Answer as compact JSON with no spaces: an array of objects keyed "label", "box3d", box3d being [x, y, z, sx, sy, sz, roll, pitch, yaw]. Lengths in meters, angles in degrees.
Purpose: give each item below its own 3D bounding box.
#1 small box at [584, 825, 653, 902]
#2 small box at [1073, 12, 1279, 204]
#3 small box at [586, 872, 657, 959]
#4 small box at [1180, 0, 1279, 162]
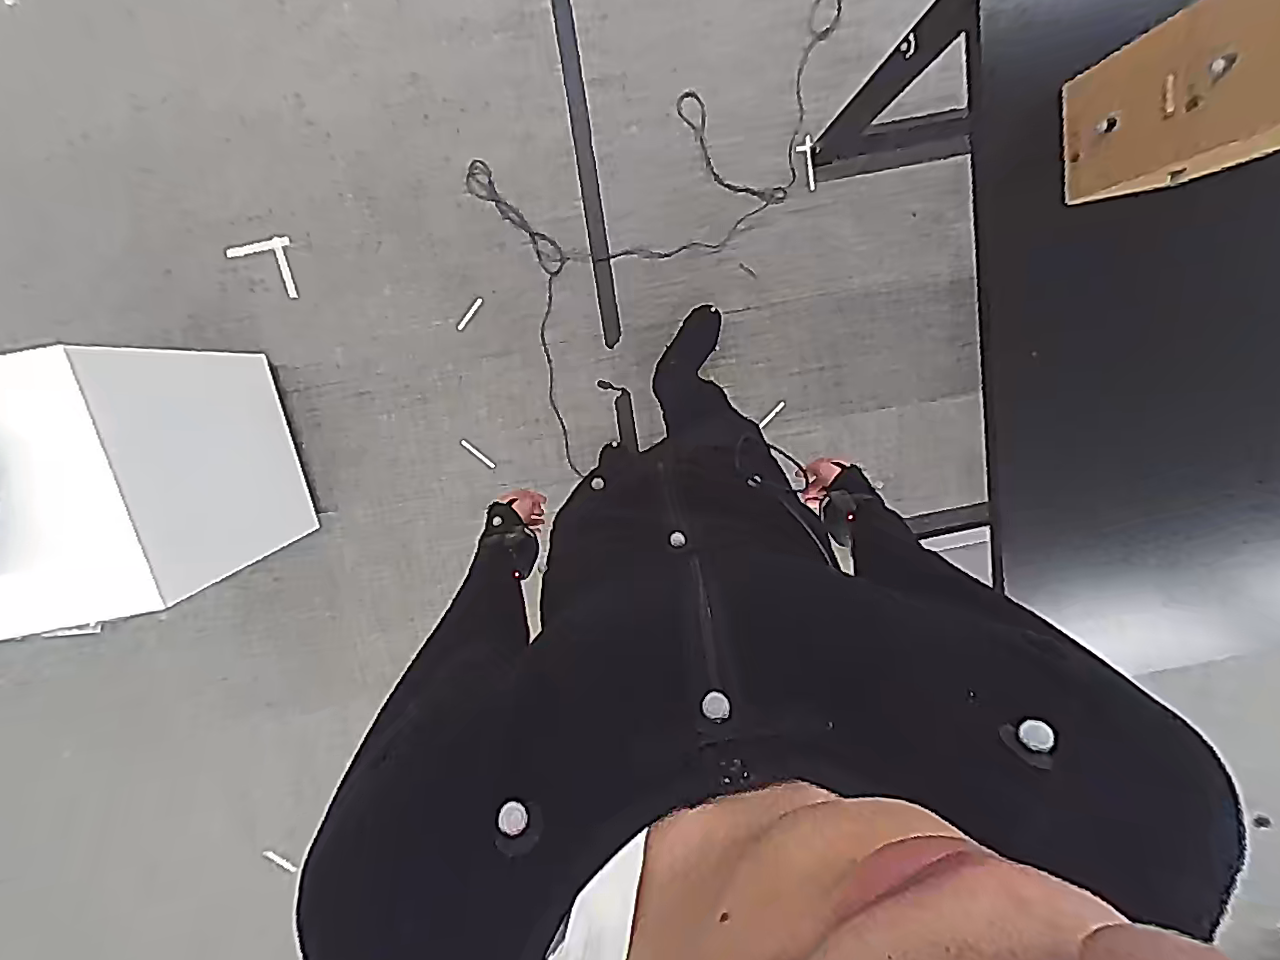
[{"label":"small box","box3d":[-0.060,1.152,1.587,0.179,0.176,0.168,-9,101,1]},{"label":"small box","box3d":[0.718,-0.489,0.717,0.179,0.176,0.168,-12,102,1]},{"label":"small box","box3d":[-0.044,1.189,1.429,0.168,0.176,0.179,-7,101,0]},{"label":"small box","box3d":[0.726,-0.457,0.555,0.179,0.176,0.168,-11,101,0]}]
